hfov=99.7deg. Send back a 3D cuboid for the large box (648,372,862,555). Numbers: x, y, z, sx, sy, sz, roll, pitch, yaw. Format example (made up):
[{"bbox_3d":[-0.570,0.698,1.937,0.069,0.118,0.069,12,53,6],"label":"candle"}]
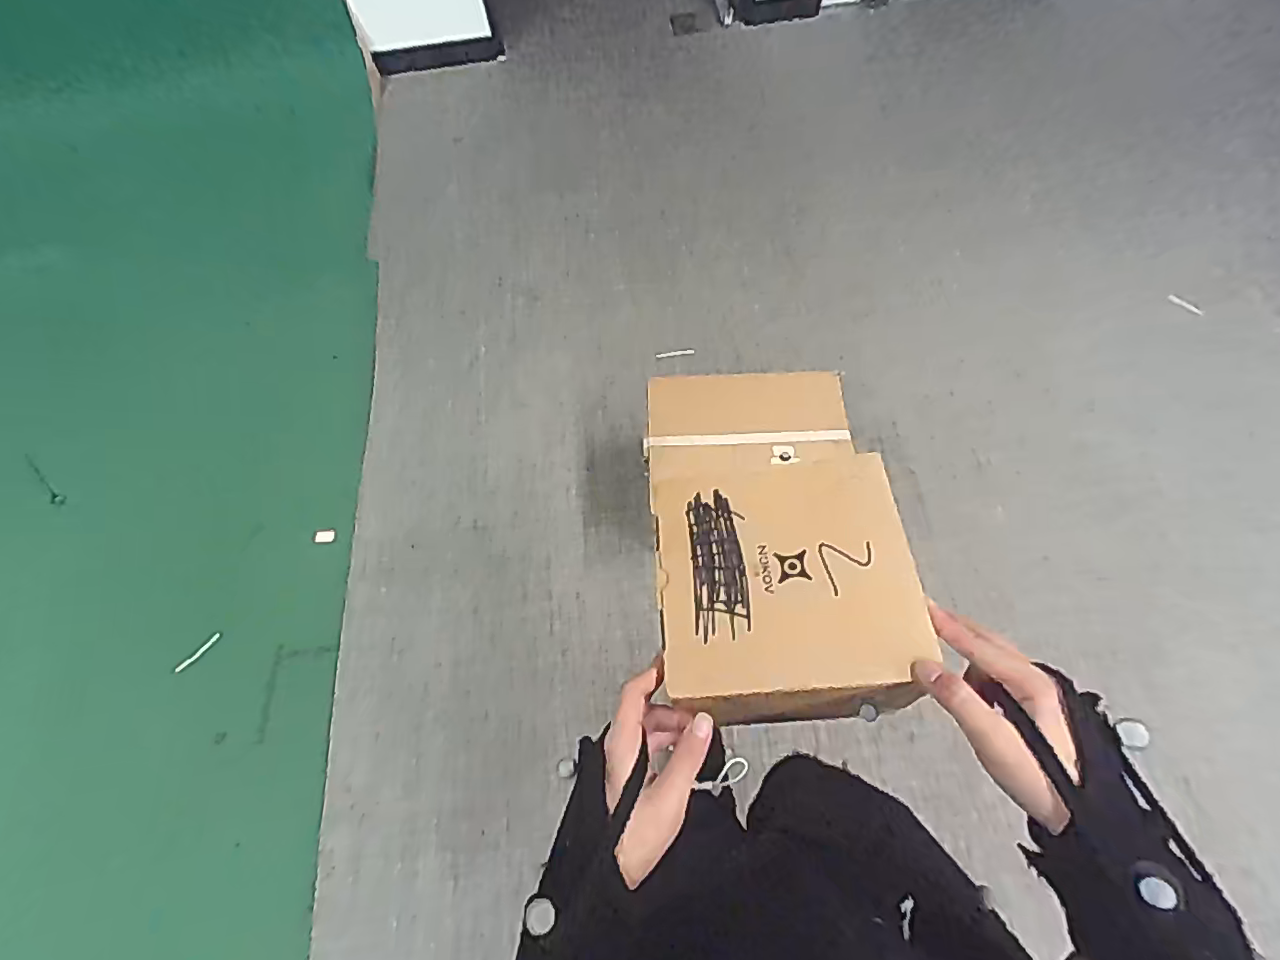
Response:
[{"bbox_3d":[0.225,-0.023,1.220,0.408,0.320,0.320,-1,68,1],"label":"large box"}]
